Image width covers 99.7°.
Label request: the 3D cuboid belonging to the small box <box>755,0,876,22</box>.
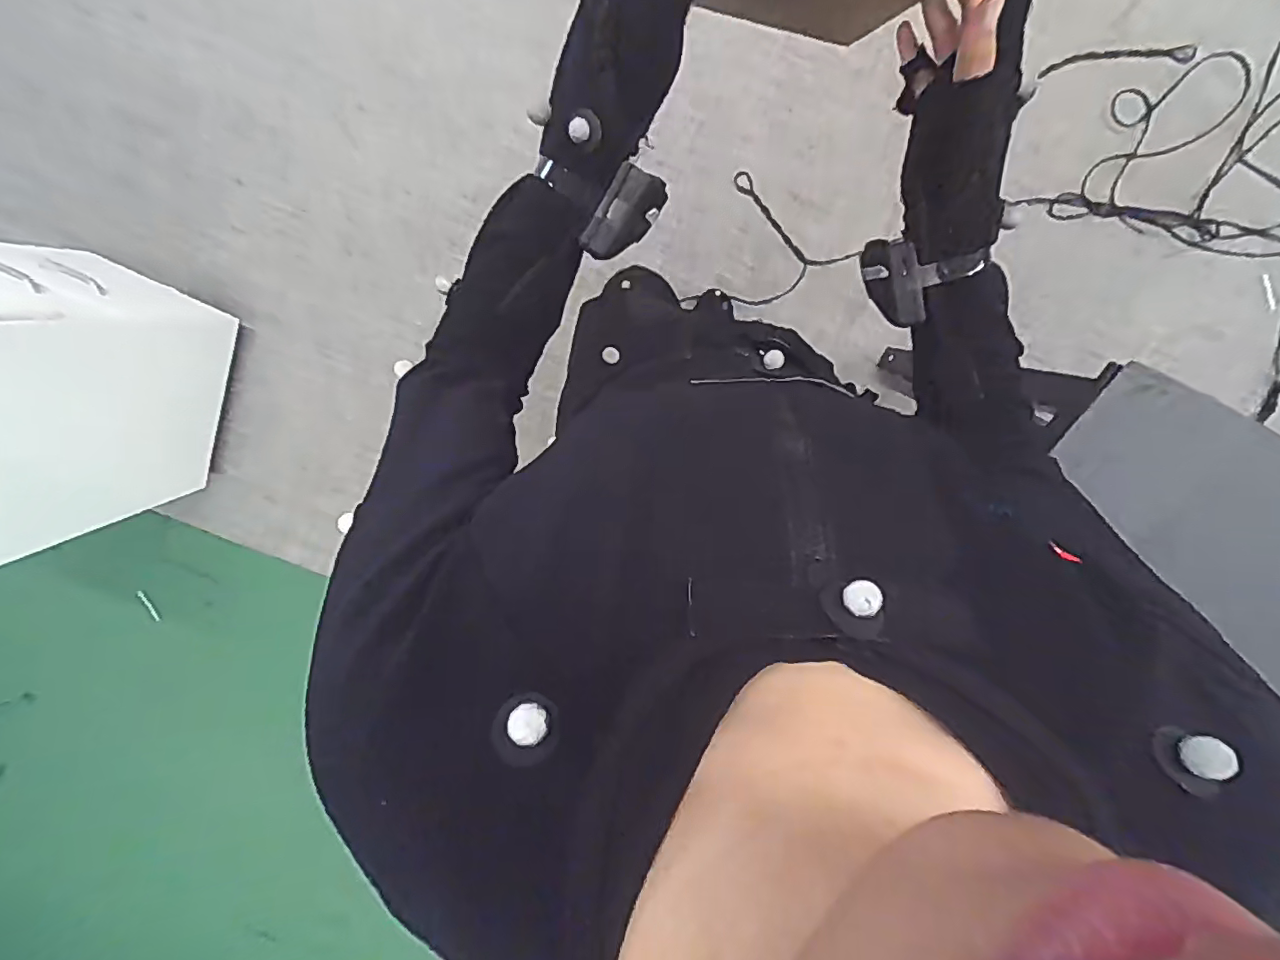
[{"bbox_3d":[0.118,-0.436,0.351,0.179,0.176,0.168,7,117,-8],"label":"small box"}]
